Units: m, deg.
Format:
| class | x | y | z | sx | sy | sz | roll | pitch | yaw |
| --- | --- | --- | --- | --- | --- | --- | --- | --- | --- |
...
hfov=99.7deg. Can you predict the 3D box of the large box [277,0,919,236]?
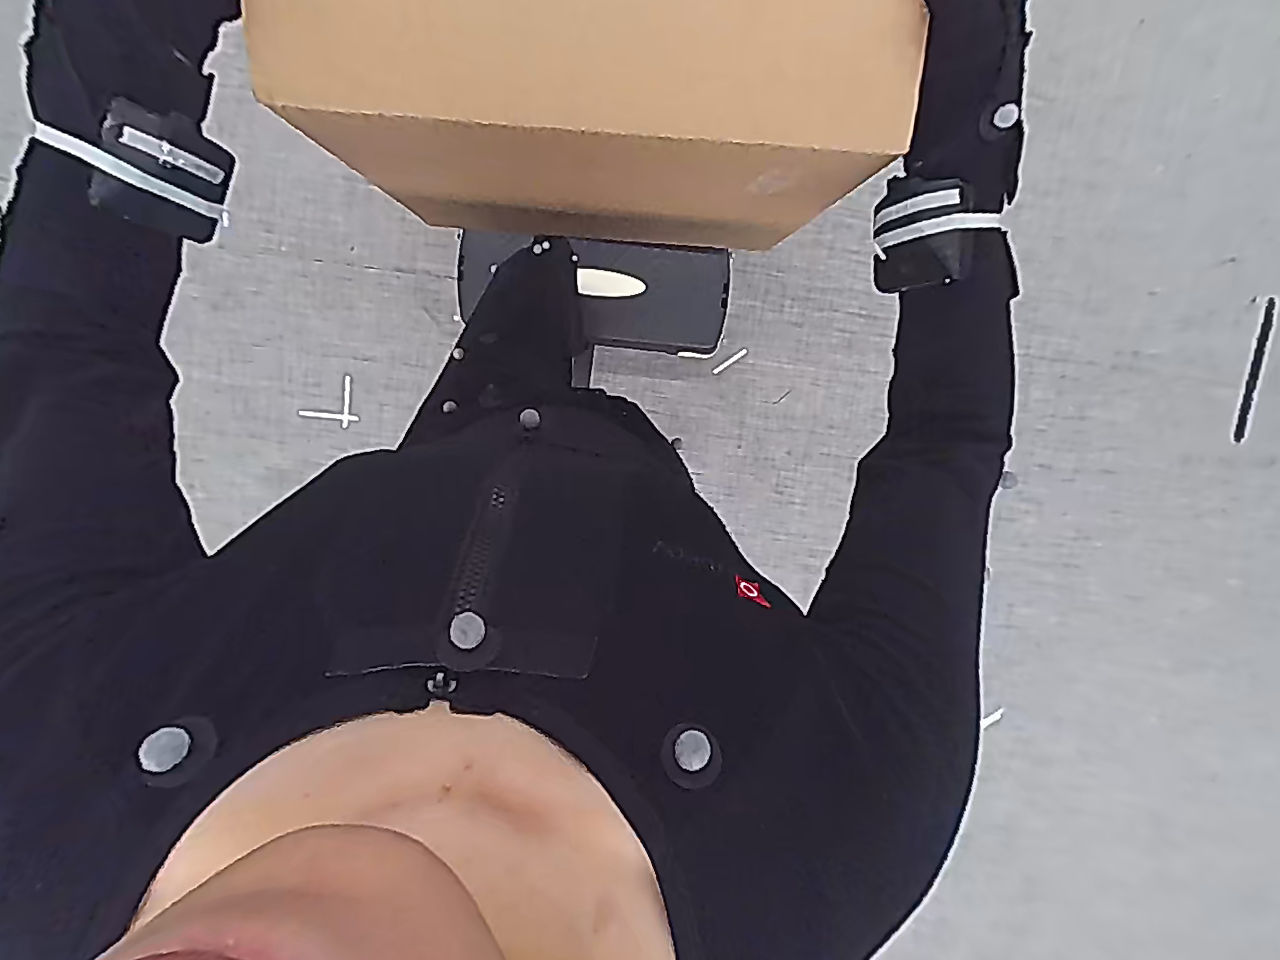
| class | x | y | z | sx | sy | sz | roll | pitch | yaw |
| --- | --- | --- | --- | --- | --- | --- | --- | --- | --- |
| large box | -0.027 | -0.411 | 0.460 | 0.408 | 0.320 | 0.320 | 2 | 103 | -4 |
